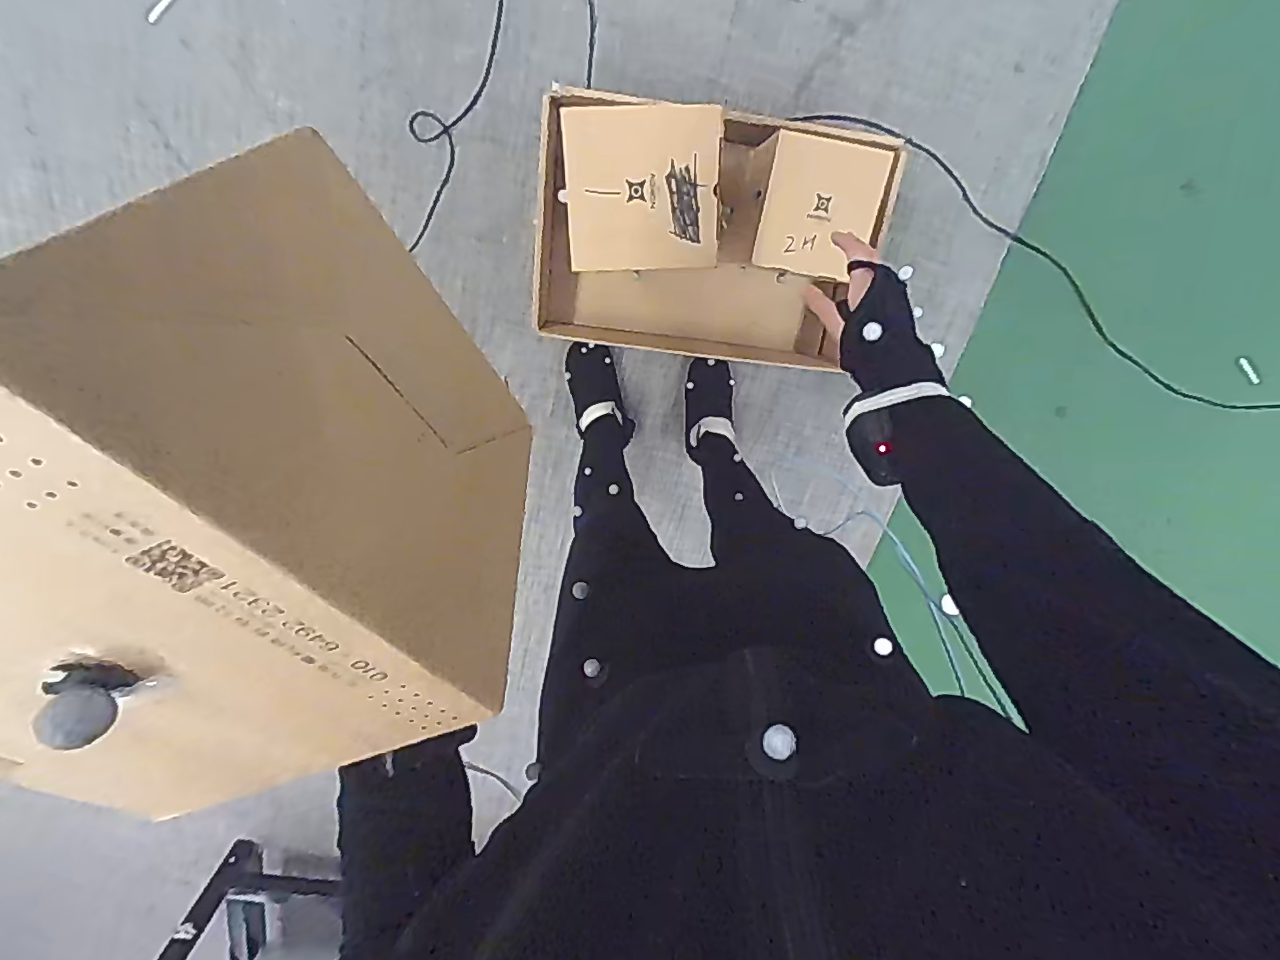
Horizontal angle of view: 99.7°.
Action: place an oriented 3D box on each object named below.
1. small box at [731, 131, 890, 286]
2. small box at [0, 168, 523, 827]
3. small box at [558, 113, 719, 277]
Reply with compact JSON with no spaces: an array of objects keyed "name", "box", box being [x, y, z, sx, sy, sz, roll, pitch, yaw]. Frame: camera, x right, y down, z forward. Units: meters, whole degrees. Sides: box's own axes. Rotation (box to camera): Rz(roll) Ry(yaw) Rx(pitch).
[{"name":"small box","box":[0.249,-0.409,0.839,0.168,0.176,0.179,8,112,-5]},{"name":"small box","box":[-0.165,0.007,0.220,0.176,0.179,0.168,-21,131,13]},{"name":"small box","box":[-0.004,-0.349,0.680,0.179,0.176,0.168,-2,114,-2]}]
